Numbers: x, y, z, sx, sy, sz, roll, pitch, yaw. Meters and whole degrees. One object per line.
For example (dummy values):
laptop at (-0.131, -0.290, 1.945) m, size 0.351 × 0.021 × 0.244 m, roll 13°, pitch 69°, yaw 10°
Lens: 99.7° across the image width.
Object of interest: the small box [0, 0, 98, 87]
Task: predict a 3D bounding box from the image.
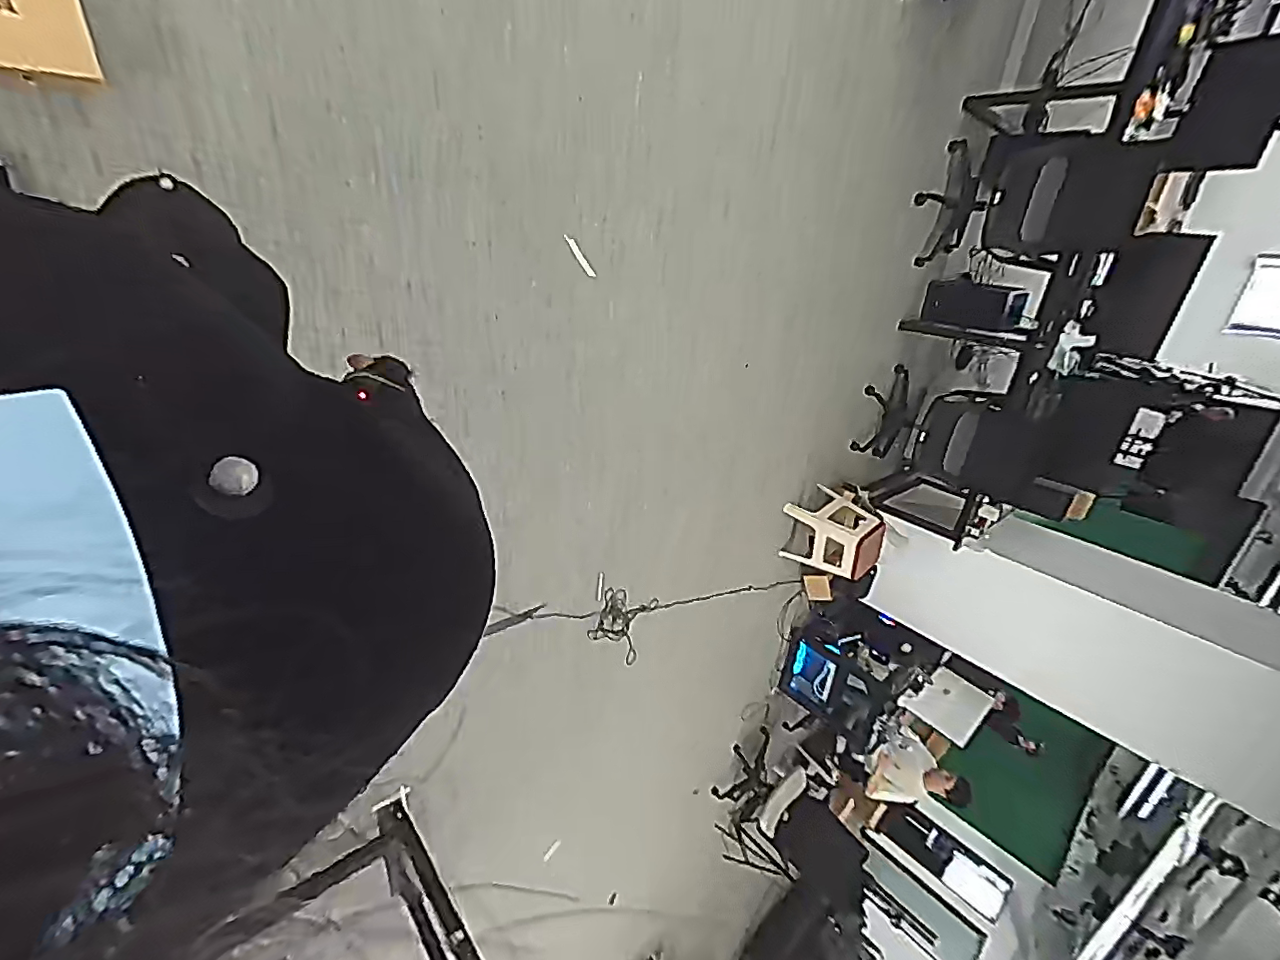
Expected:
small box at (-0.945, -0.710, 0.804) m, size 0.168 × 0.176 × 0.179 m, roll -19°, pitch 123°, yaw -38°
